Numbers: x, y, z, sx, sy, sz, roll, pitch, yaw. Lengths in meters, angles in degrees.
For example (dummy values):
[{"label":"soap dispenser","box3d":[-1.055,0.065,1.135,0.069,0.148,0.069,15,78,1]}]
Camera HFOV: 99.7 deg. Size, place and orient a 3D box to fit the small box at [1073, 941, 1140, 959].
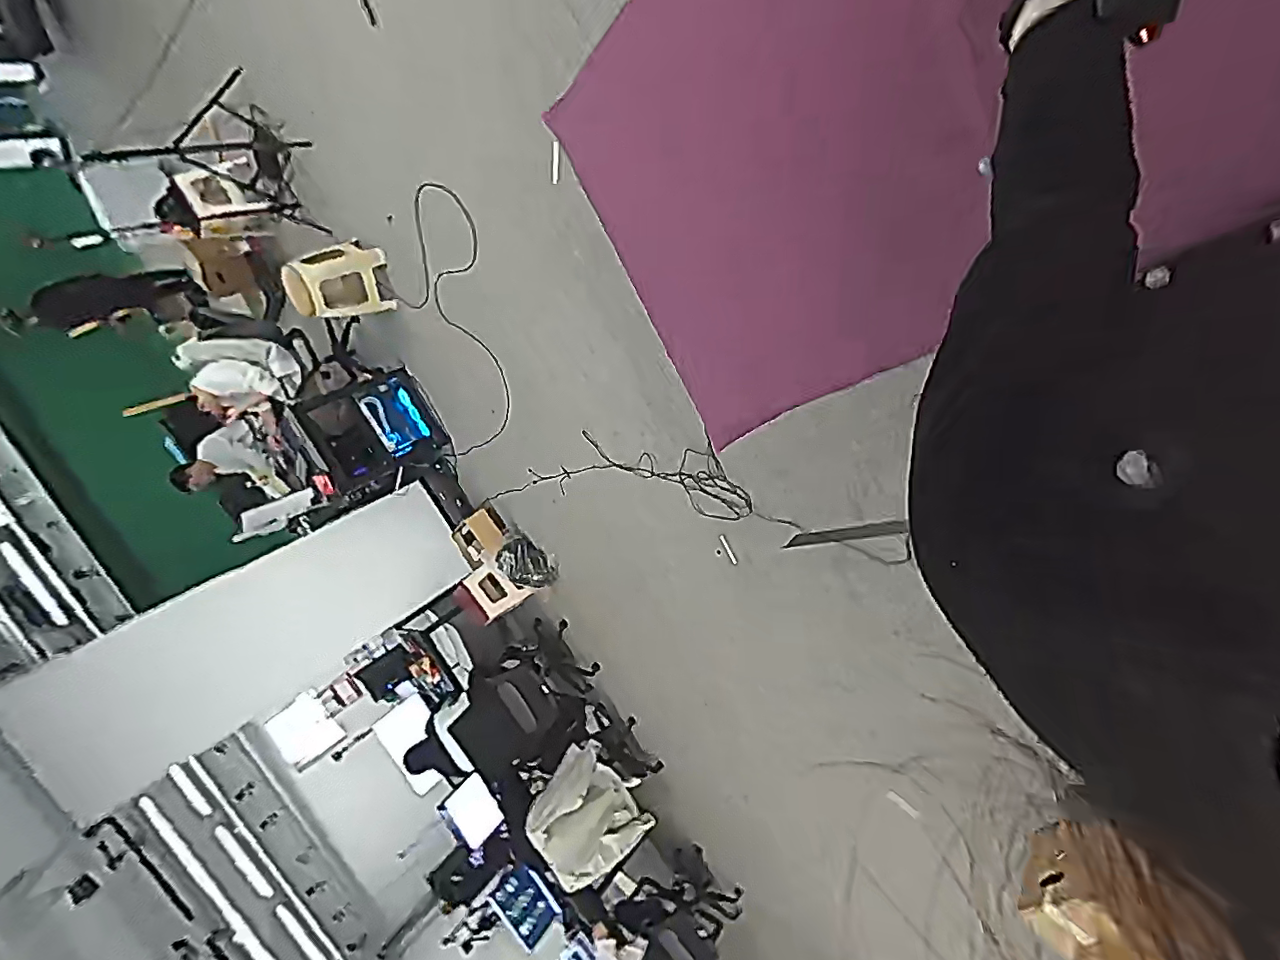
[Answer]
[{"label":"small box","box3d":[1.308,1.405,1.470,0.168,0.176,0.179,37,140,22]}]
